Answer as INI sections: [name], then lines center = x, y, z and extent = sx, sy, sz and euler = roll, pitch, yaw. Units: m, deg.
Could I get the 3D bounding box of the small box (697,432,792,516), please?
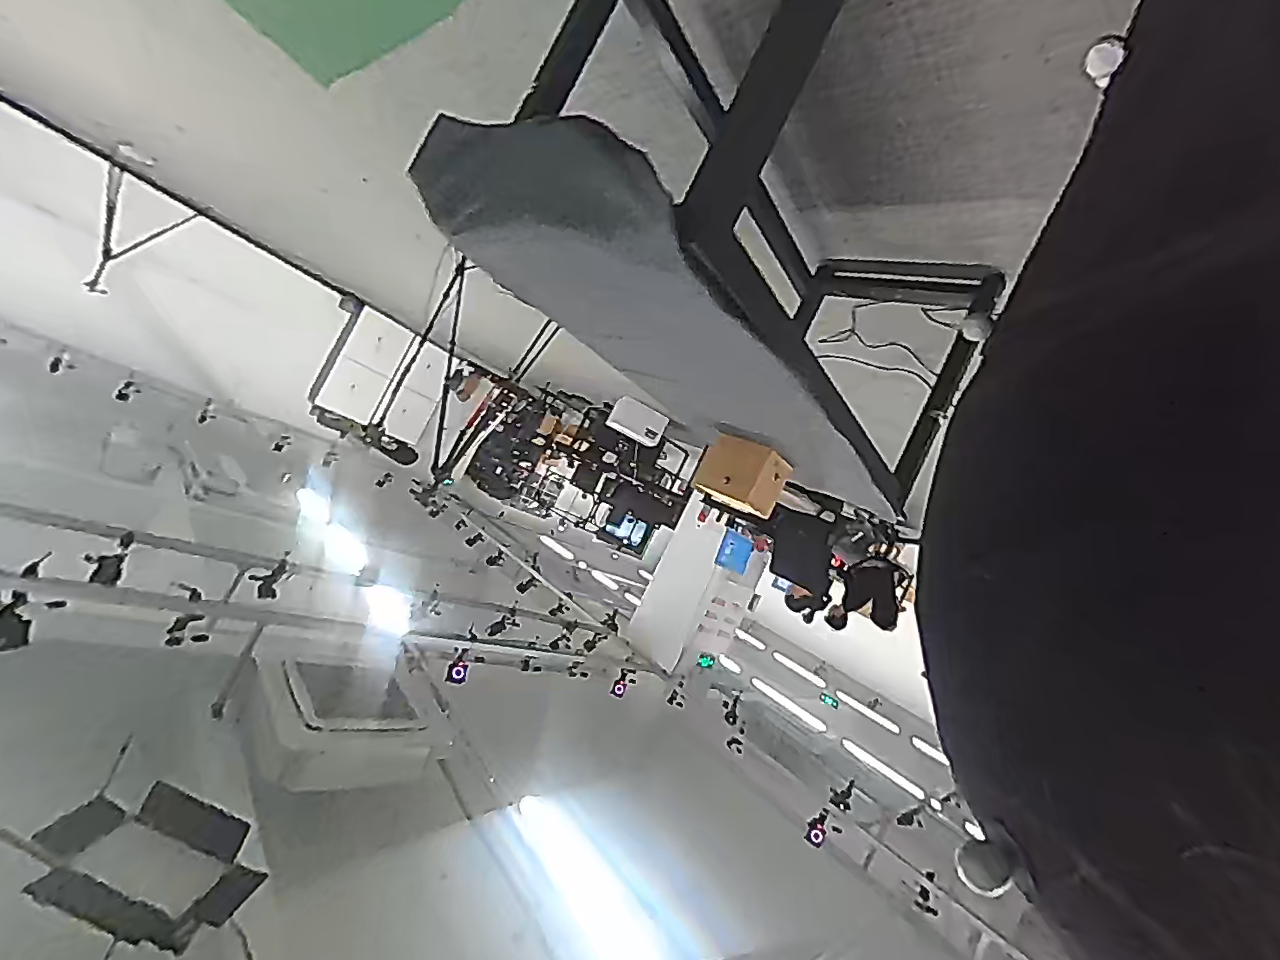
[small box]
center = 0.299, -0.023, 1.534
extent = 0.179, 0.176, 0.168
euler = 23, 177, 39
